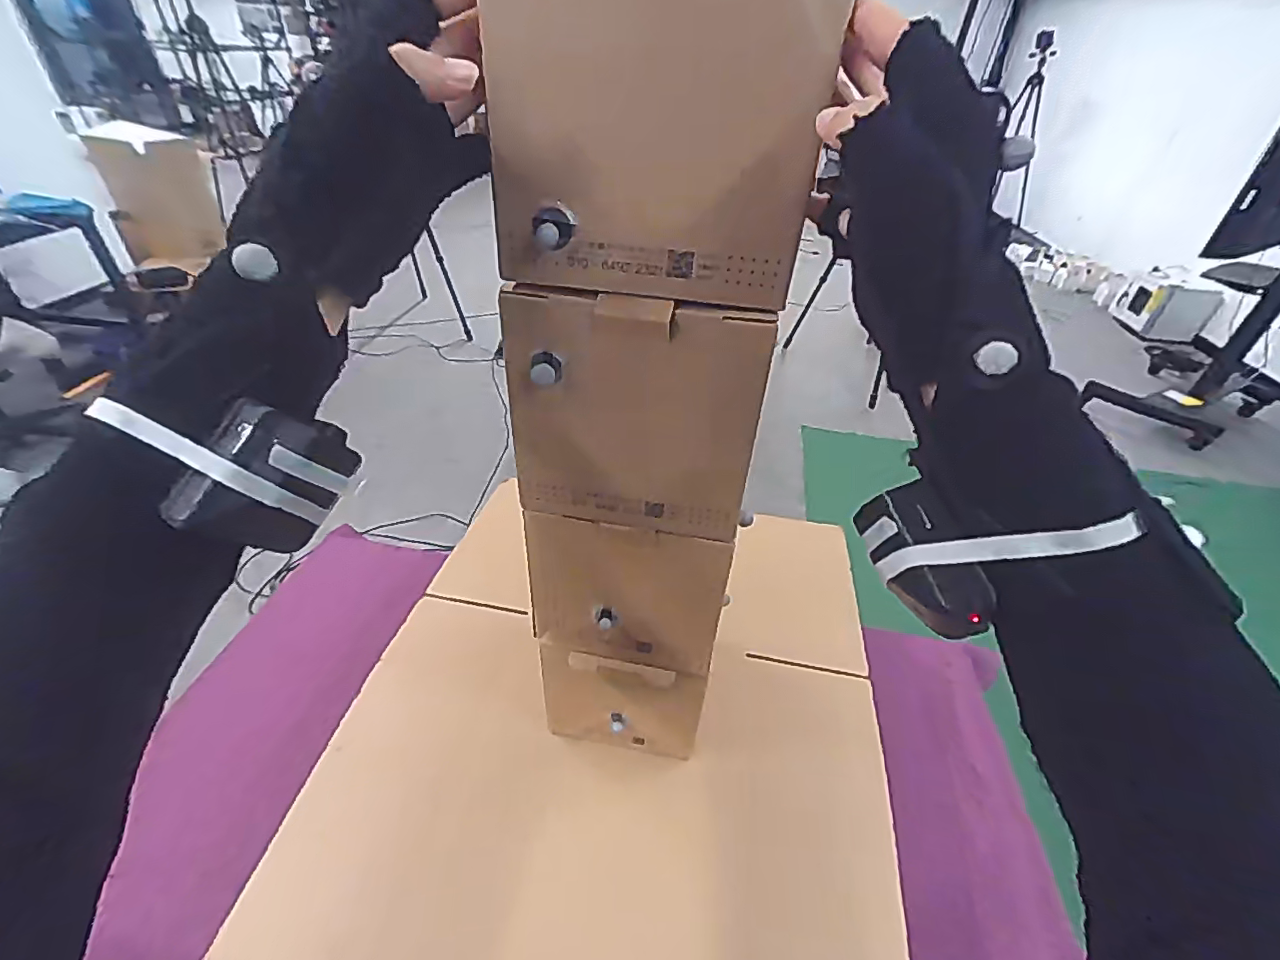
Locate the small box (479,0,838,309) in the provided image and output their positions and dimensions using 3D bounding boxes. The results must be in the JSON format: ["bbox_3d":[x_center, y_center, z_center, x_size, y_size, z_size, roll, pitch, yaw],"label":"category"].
[{"bbox_3d":[0.016,-0.218,0.336,0.168,0.176,0.179,8,36,4],"label":"small box"}]

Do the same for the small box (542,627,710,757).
[{"bbox_3d":[-0.006,0.182,0.627,0.168,0.176,0.179,8,37,7],"label":"small box"}]

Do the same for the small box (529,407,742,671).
[{"bbox_3d":[0.001,0.052,0.529,0.168,0.176,0.179,9,37,7],"label":"small box"}]
